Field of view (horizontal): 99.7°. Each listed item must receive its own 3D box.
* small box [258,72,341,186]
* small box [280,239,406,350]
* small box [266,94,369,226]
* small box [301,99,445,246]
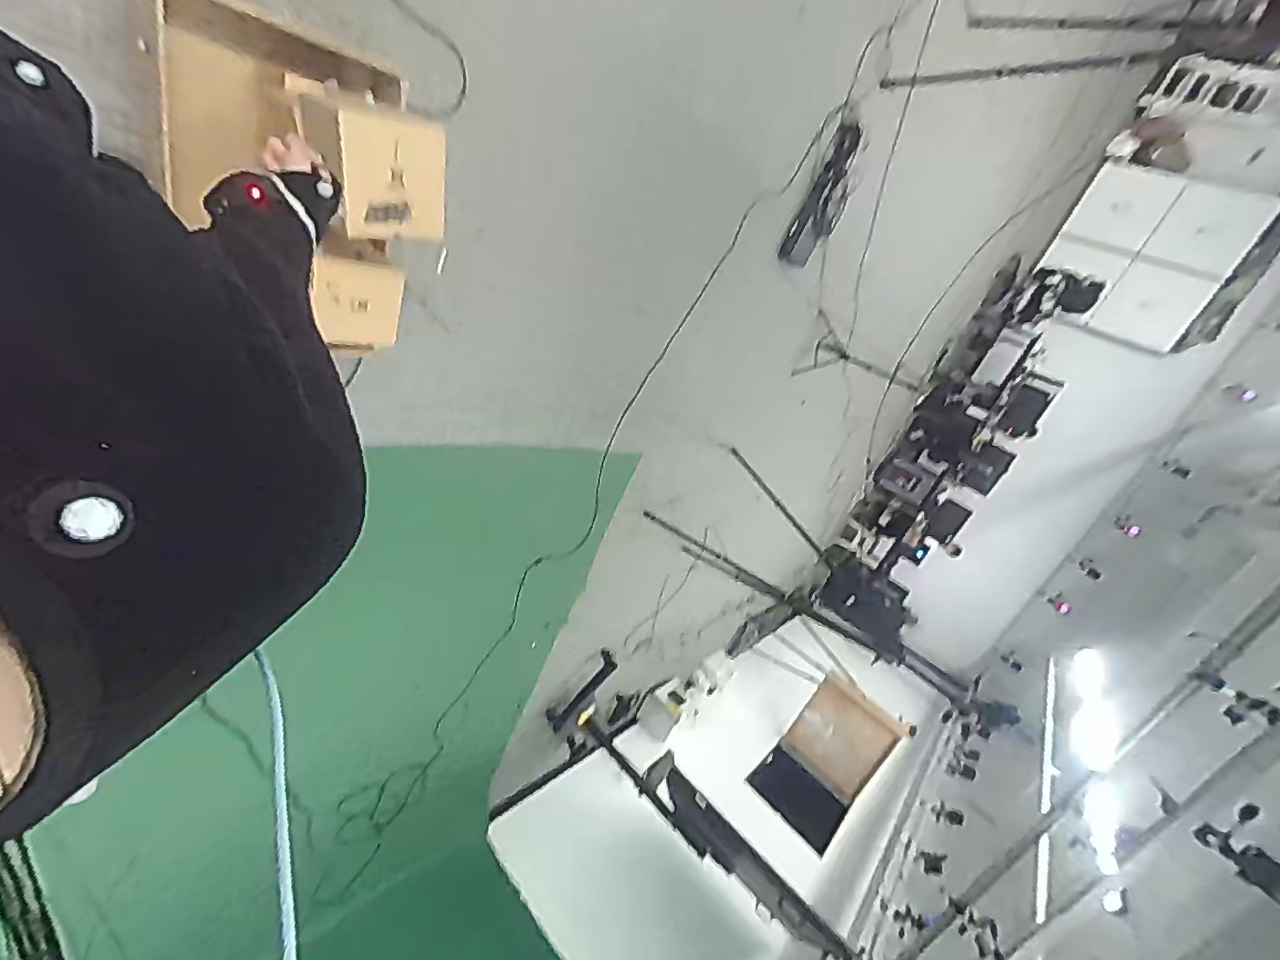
[{"bbox_3d":[-0.658,-0.692,1.101,0.168,0.176,0.179,-10,132,-47],"label":"small box"},{"bbox_3d":[-0.624,-0.388,1.135,0.179,0.176,0.168,-9,128,-49],"label":"small box"},{"bbox_3d":[-0.562,-0.596,1.010,0.168,0.176,0.179,-26,141,-35],"label":"small box"},{"bbox_3d":[-0.451,-0.516,0.919,0.168,0.176,0.179,-20,137,-41],"label":"small box"}]
